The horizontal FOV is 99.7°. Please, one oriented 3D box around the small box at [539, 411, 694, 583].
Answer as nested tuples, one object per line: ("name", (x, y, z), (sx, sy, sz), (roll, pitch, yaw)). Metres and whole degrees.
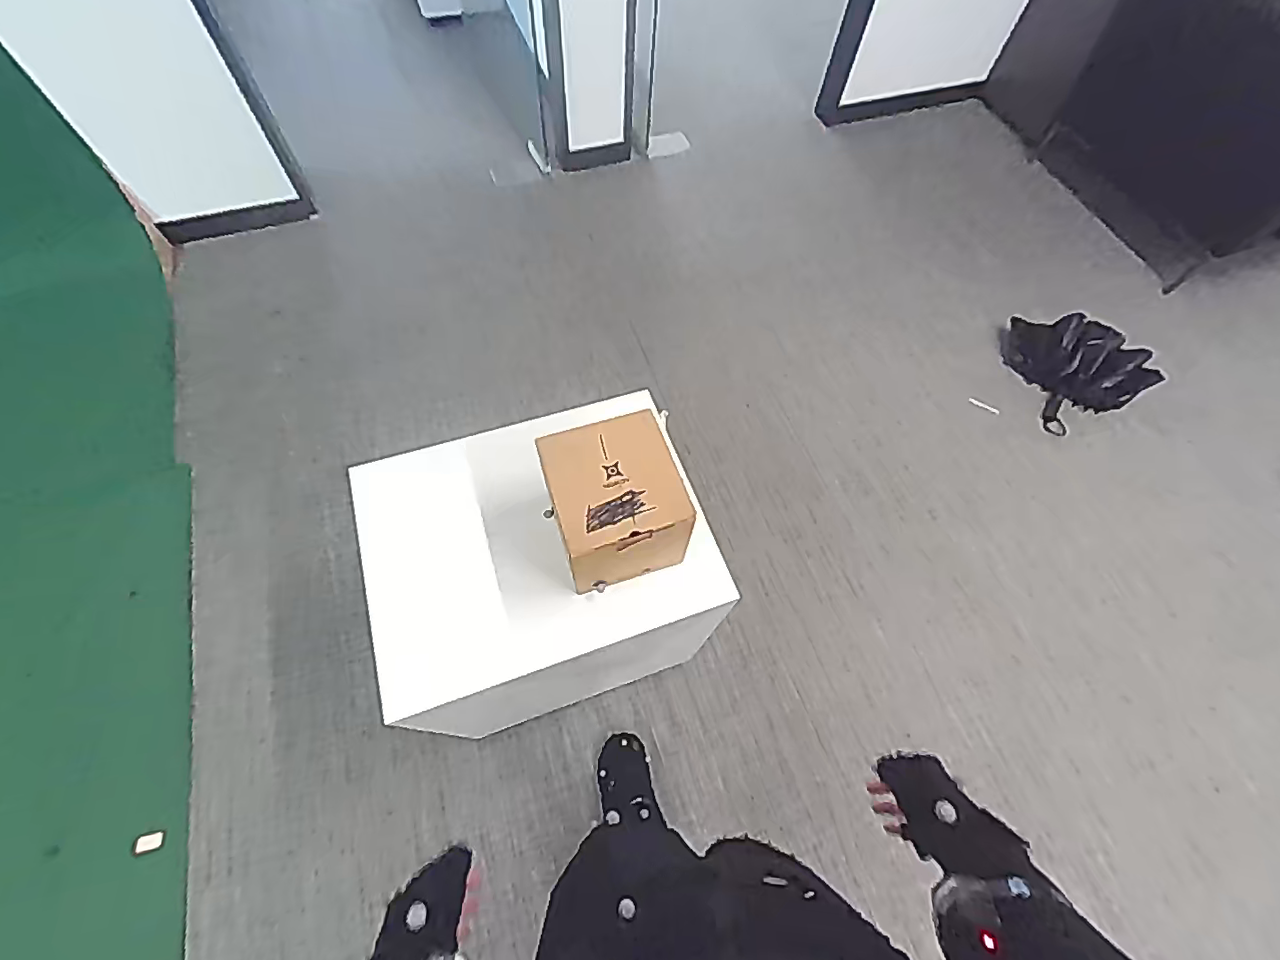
("small box", (-0.035, 0.034, 0.770), (0.168, 0.176, 0.179), (-15, 63, -10))
